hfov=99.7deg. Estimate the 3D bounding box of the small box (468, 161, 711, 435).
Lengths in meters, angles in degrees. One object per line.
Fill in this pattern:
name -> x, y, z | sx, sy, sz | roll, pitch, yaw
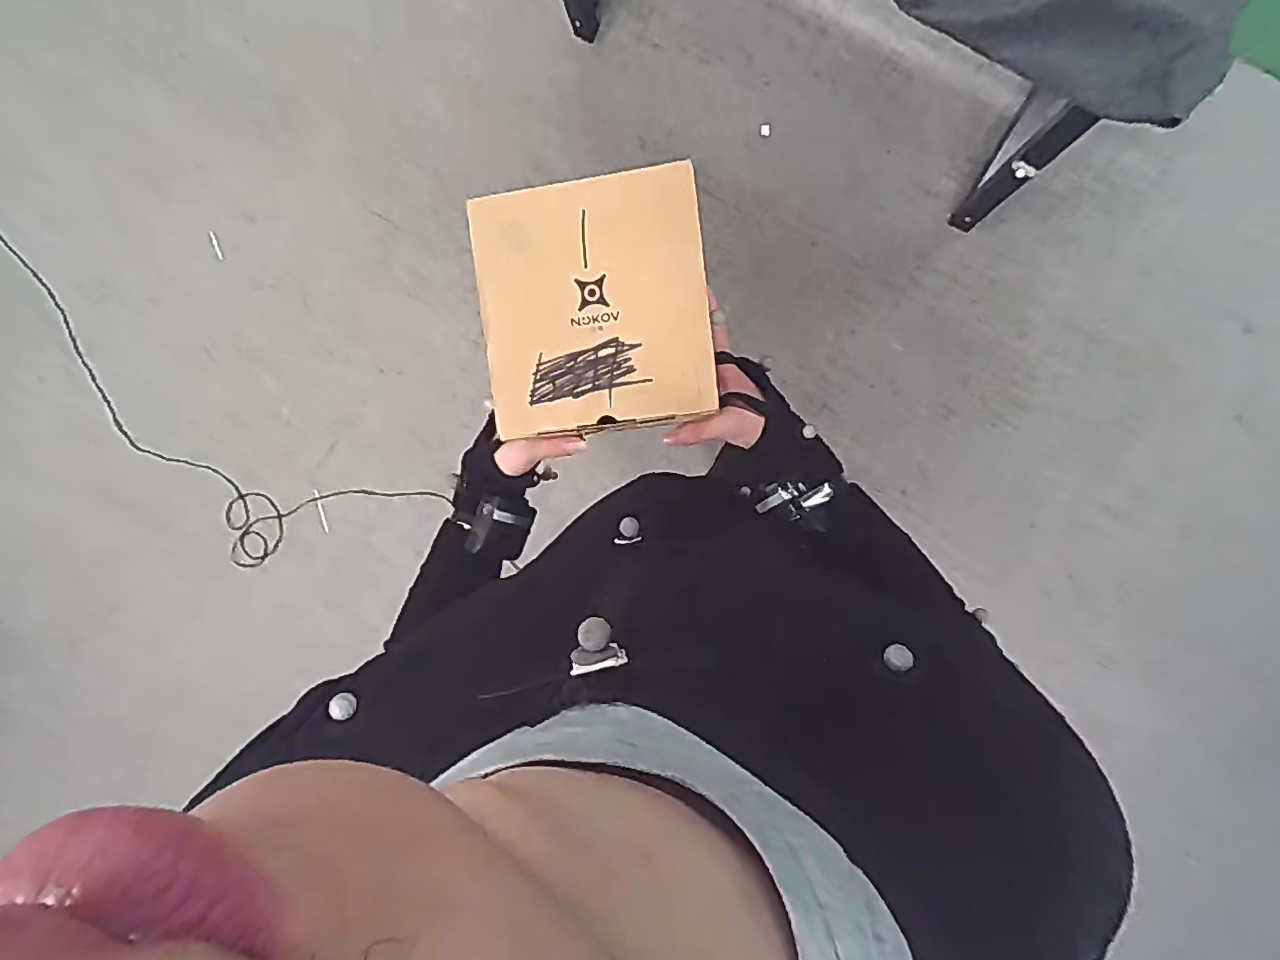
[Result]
small box -> -0.027, -0.133, 0.465 | 0.168, 0.176, 0.179 | -5, 94, 7
